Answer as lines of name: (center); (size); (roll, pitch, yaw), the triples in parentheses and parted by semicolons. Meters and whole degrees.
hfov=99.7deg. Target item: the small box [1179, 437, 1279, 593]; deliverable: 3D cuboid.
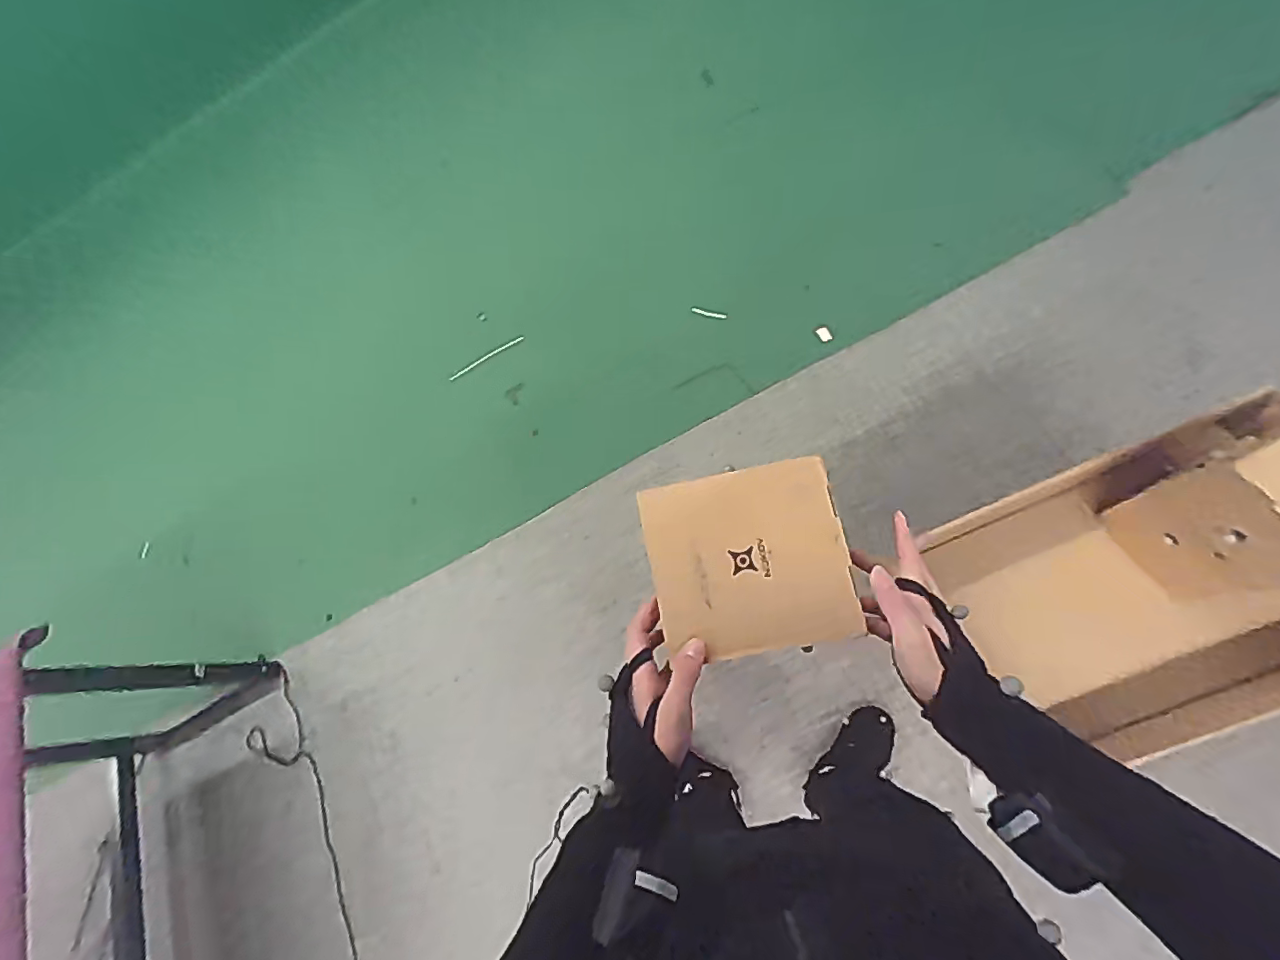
small box: (0.850, 0.029, 0.680); (0.179, 0.176, 0.168); (-32, 67, 7)
